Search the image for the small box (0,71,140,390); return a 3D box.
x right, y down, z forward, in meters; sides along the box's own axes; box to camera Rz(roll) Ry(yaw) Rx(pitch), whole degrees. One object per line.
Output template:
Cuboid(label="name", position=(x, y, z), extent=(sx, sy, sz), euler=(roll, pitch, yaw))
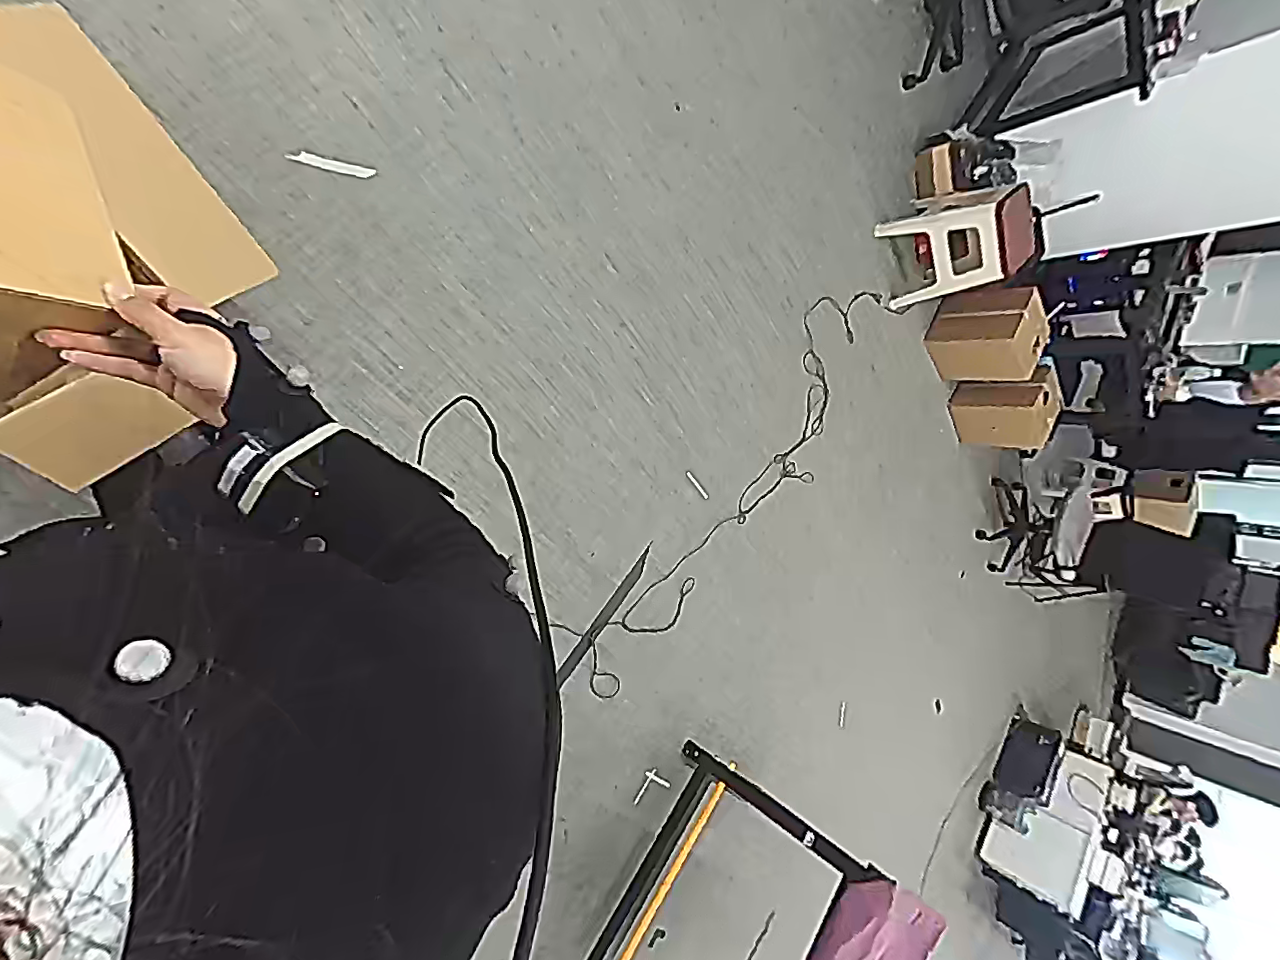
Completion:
Cuboid(label="small box", position=(-0.467, -0.153, 0.316), extent=(0.179, 0.176, 0.168), euler=(-17, 87, -74))
